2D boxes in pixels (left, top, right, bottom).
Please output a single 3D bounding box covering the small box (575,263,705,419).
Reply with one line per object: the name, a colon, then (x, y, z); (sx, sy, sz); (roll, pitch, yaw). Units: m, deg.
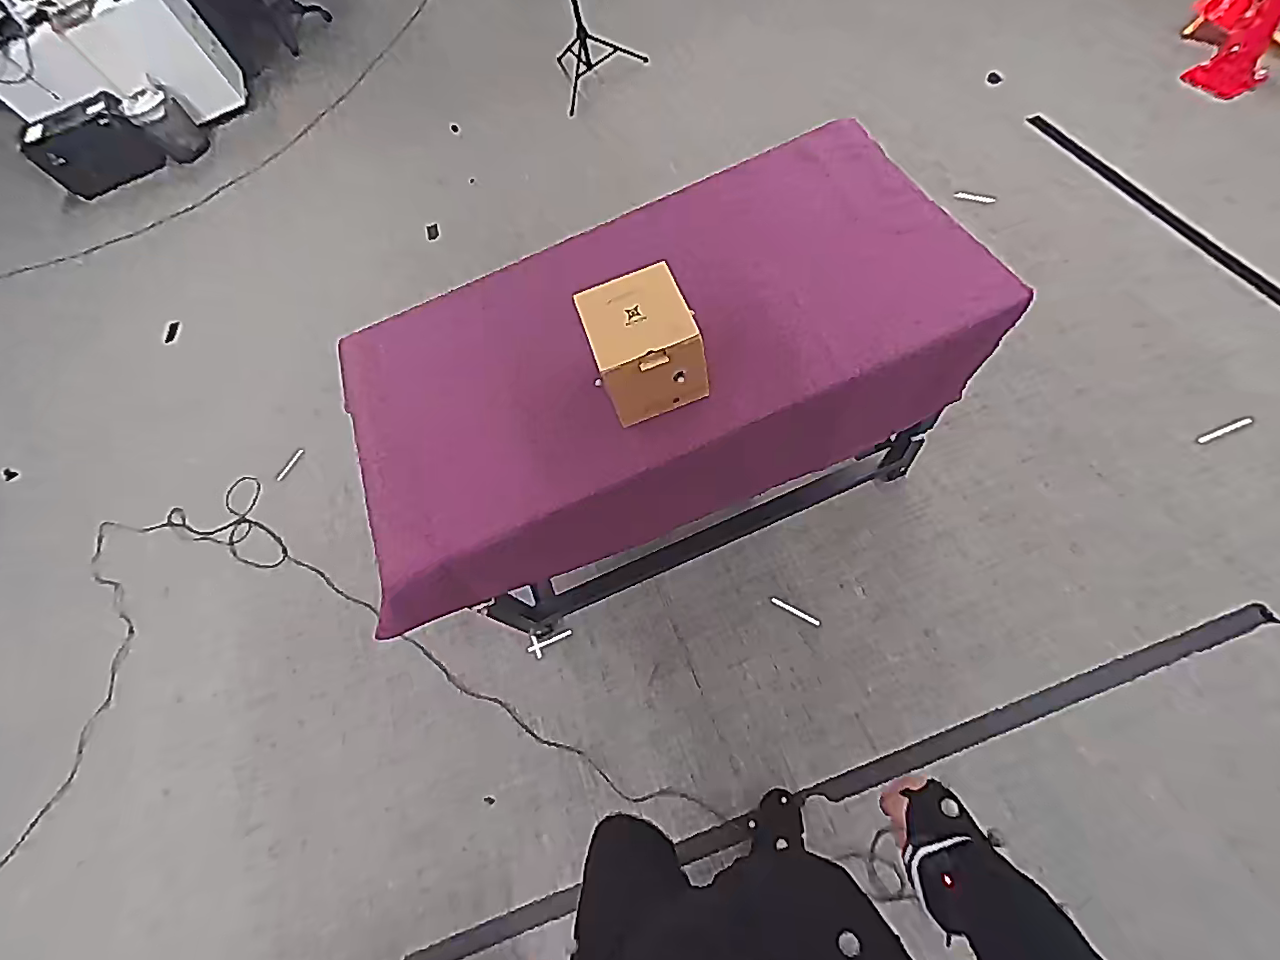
small box: (0.006, -0.225, 0.925); (0.168, 0.176, 0.179); (-20, 63, 1)
